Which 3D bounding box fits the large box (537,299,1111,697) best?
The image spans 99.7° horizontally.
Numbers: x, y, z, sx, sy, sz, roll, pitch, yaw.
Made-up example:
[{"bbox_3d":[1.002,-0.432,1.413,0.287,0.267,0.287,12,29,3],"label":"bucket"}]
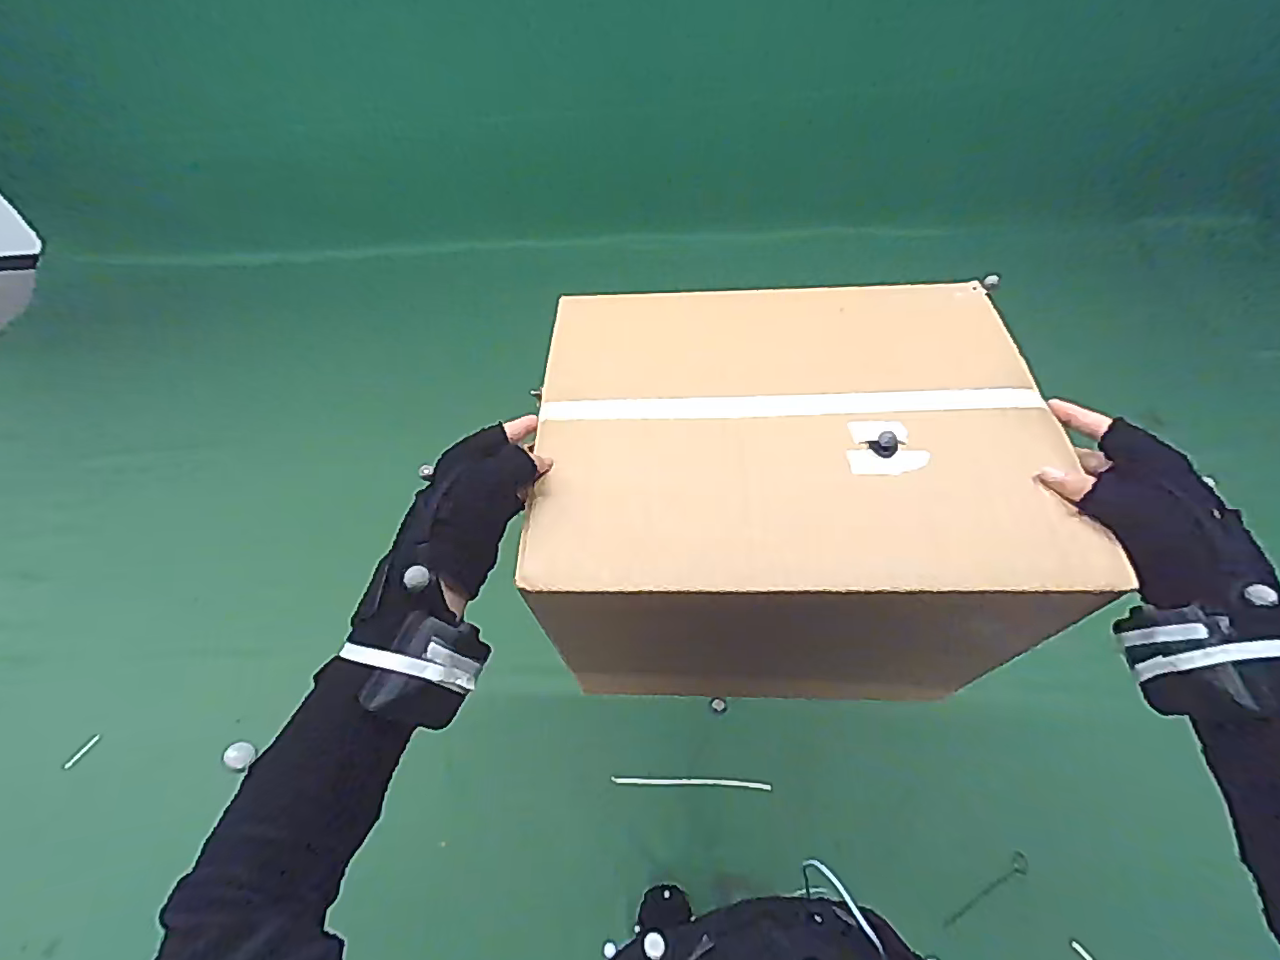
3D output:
[{"bbox_3d":[0.130,0.034,0.579,0.408,0.320,0.320,-1,56,3],"label":"large box"}]
